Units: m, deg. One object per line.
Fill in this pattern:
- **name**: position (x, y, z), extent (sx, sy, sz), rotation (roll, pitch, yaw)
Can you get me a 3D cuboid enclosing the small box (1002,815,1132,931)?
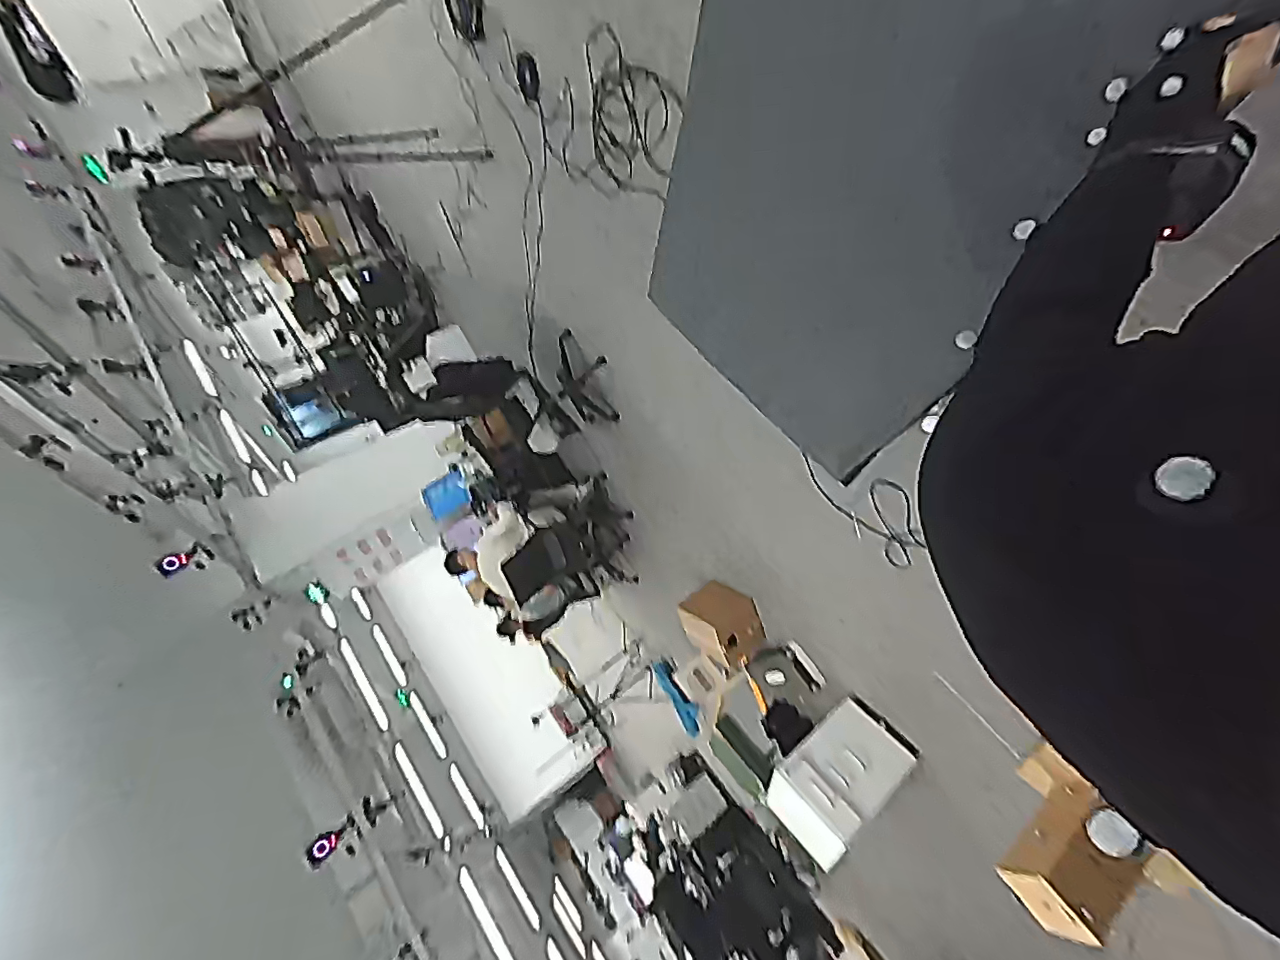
- **small box**: position (1.104, 1.002, 1.400), extent (0.168, 0.176, 0.179), rotation (49, 157, 18)
